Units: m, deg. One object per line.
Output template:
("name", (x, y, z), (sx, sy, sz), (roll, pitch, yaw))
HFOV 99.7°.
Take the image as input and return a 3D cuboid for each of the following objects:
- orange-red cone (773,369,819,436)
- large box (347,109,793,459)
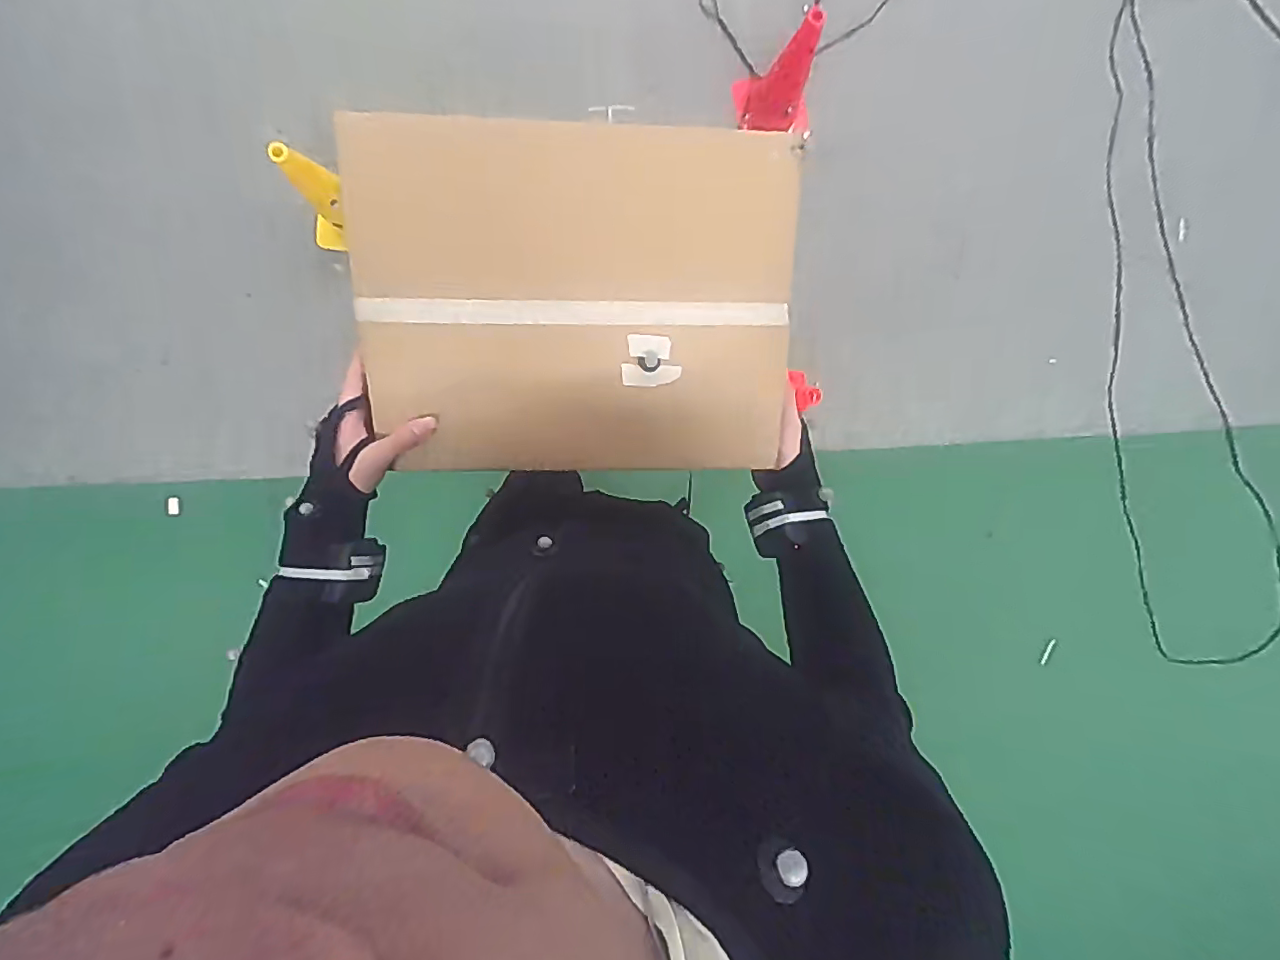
("orange-red cone", (0.395, -0.216, 1.444), (0.199, 0.360, 0.198), (5, 96, -5))
("large box", (-0.071, -0.214, 0.662), (0.408, 0.320, 0.320), (-1, 107, -5))
